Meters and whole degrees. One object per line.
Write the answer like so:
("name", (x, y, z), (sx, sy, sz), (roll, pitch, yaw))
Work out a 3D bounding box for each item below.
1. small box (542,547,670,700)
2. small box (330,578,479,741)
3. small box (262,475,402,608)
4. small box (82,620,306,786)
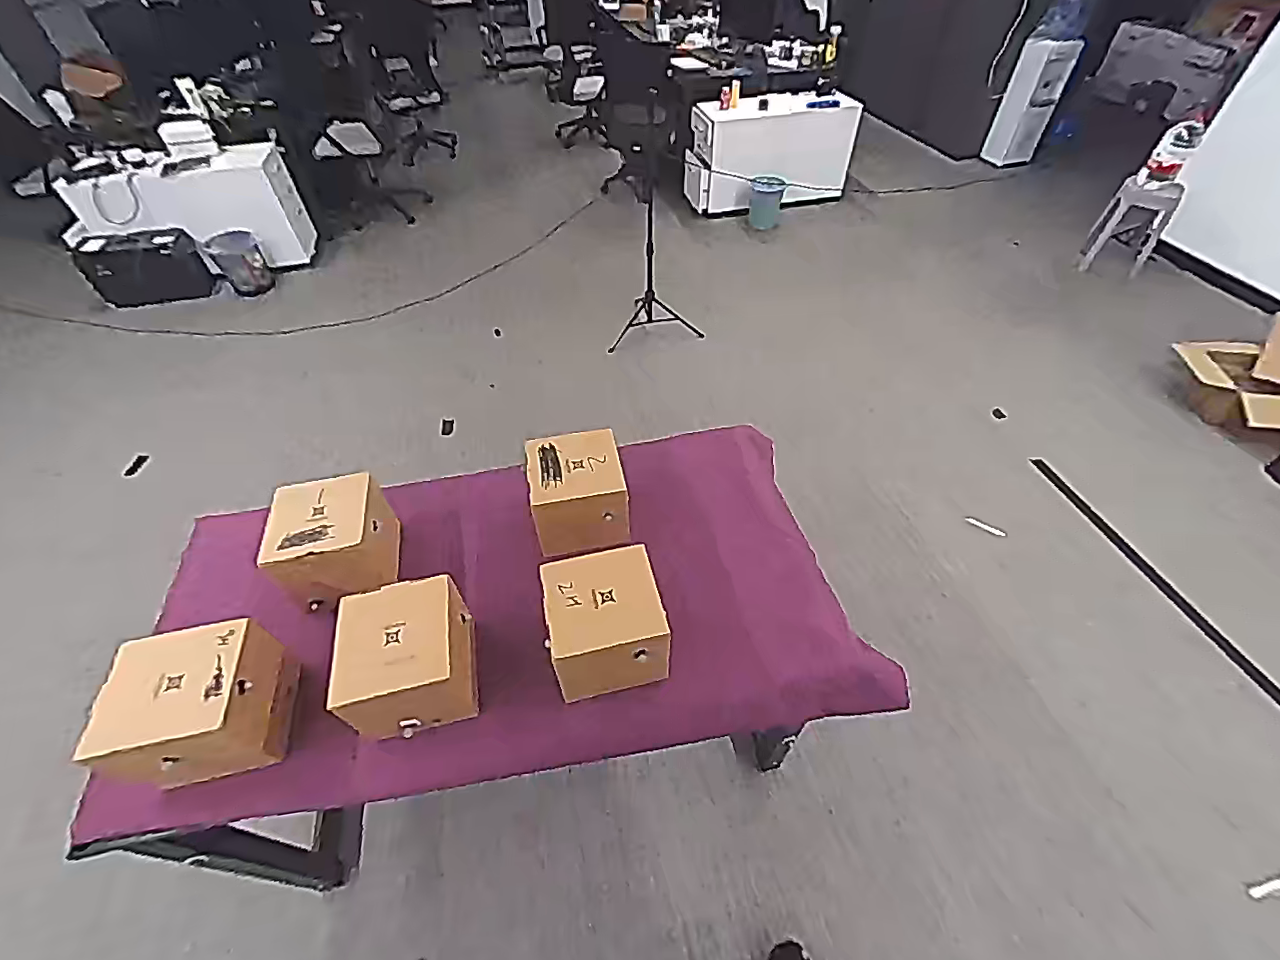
("small box", (-0.055, 0.237, 0.887), (0.179, 0.176, 0.168), (-11, 48, -7))
("small box", (-0.359, 0.285, 0.858), (0.168, 0.176, 0.179), (-12, 51, -8))
("small box", (-0.558, 0.121, 1.009), (0.168, 0.176, 0.179), (-11, 49, -8))
("small box", (-0.647, 0.339, 0.814), (0.179, 0.176, 0.168), (-11, 49, -7))
